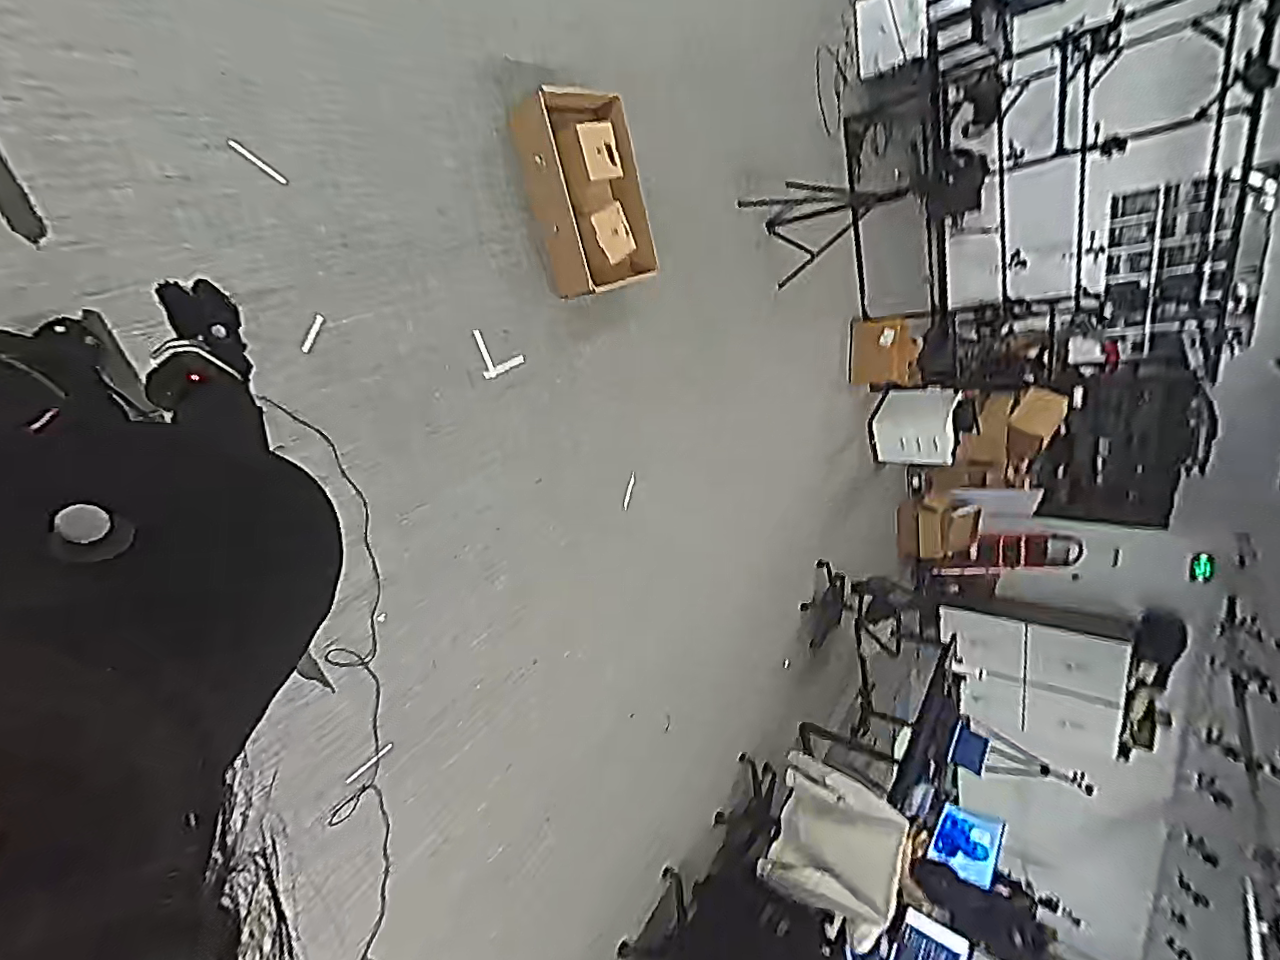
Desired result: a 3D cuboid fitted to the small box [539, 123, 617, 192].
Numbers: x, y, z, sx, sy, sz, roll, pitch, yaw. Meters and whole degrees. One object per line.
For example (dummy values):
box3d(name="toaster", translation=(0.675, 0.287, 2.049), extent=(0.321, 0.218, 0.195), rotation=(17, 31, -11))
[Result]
box3d(name="small box", translation=(-0.212, -1.106, 1.854), extent=(0.179, 0.176, 0.168), rotation=(-39, 123, -41))
